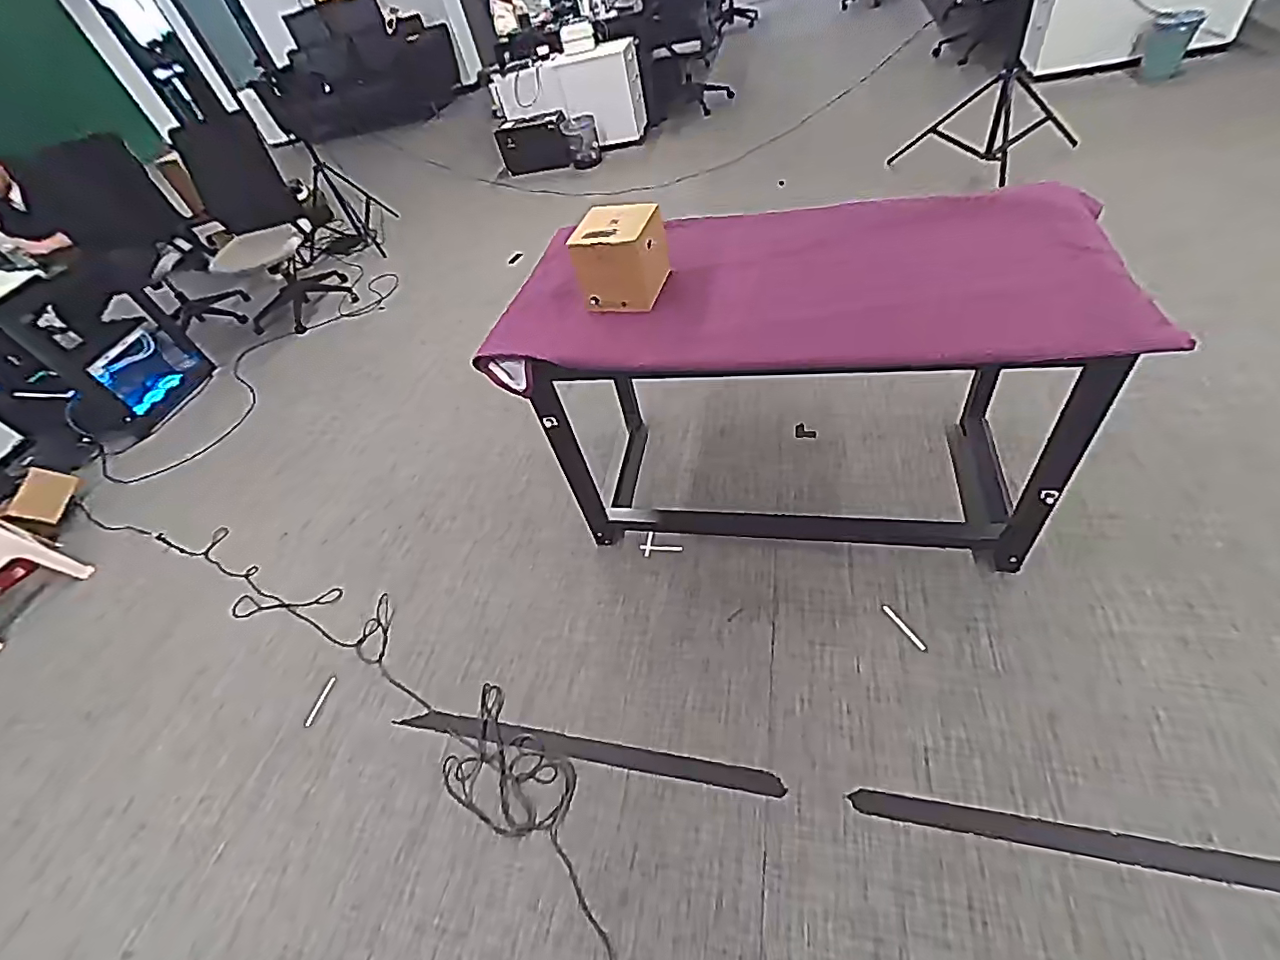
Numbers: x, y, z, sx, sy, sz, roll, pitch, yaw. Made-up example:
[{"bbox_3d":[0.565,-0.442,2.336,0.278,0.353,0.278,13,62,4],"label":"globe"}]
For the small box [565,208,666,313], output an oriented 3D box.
[{"bbox_3d":[-0.046,-0.502,1.252,0.168,0.176,0.179,7,51,20],"label":"small box"}]
